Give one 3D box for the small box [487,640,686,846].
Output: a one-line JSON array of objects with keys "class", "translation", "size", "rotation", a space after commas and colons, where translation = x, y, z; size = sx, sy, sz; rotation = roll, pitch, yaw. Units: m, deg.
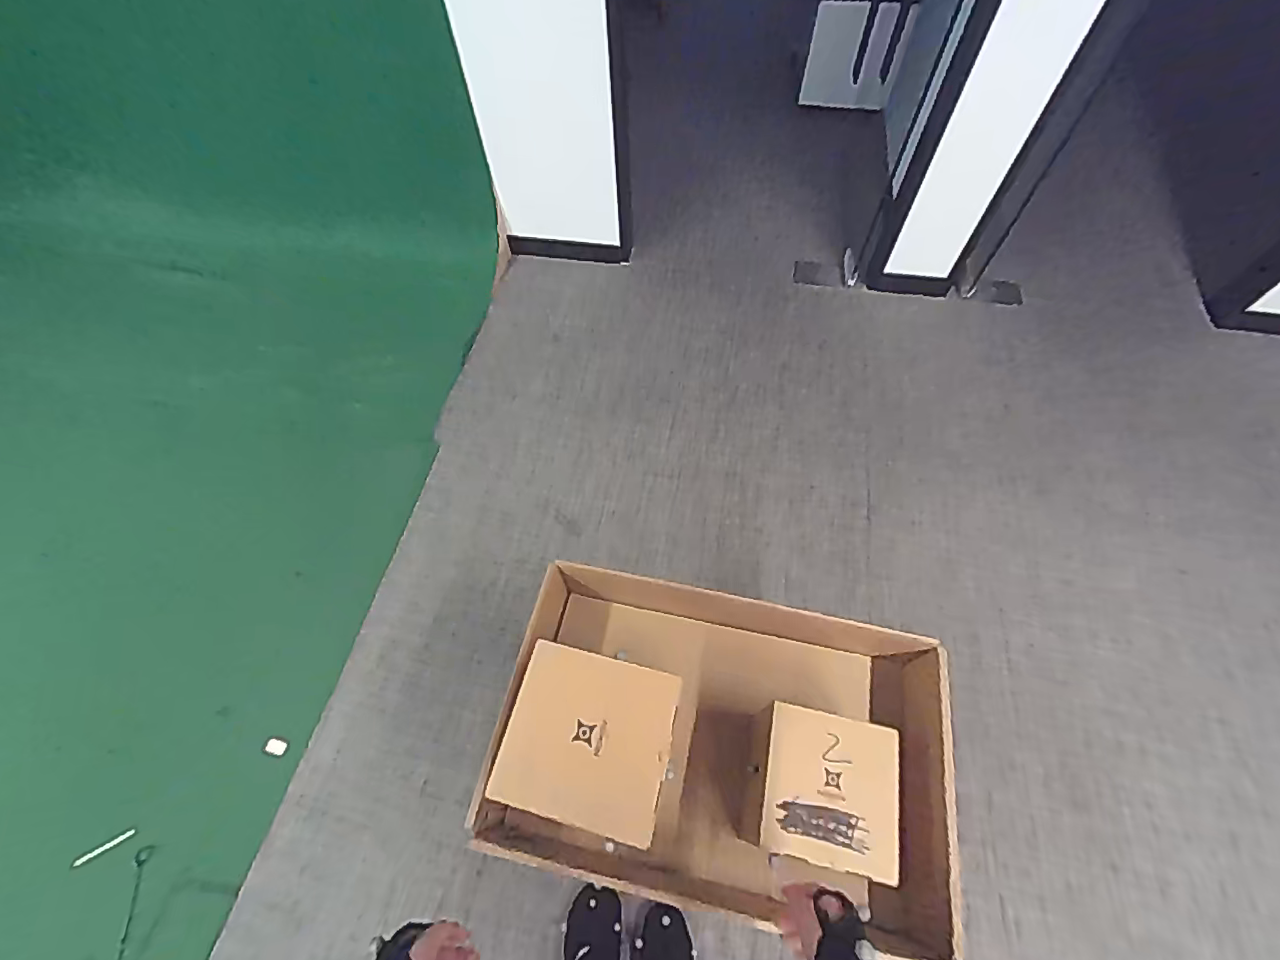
[{"class": "small box", "translation": [-0.051, 0.309, 0.642], "size": [0.179, 0.176, 0.168], "rotation": [13, 62, 8]}]
